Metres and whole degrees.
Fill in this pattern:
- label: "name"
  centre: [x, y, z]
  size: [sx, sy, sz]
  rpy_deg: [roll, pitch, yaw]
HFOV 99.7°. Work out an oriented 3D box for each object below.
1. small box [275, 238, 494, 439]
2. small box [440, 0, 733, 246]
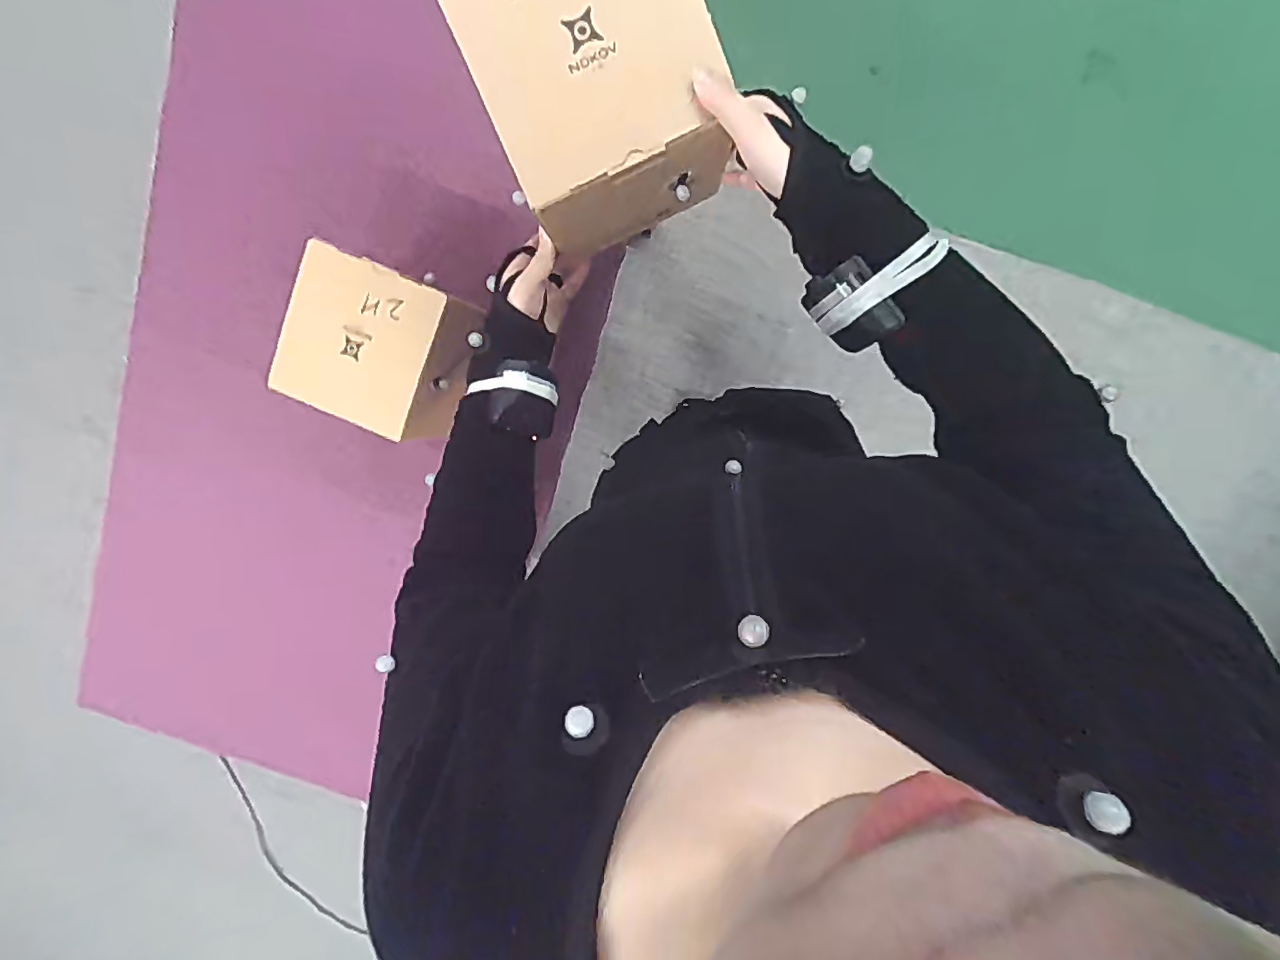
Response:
- label: "small box"
  centre: [-0.307, -0.168, 0.684]
  size: [0.168, 0.176, 0.179]
  rpy_deg: [23, 100, 0]
- label: "small box"
  centre: [-0.035, -0.318, 0.453]
  size: [0.168, 0.176, 0.179]
  rpy_deg: [-22, 98, 6]
